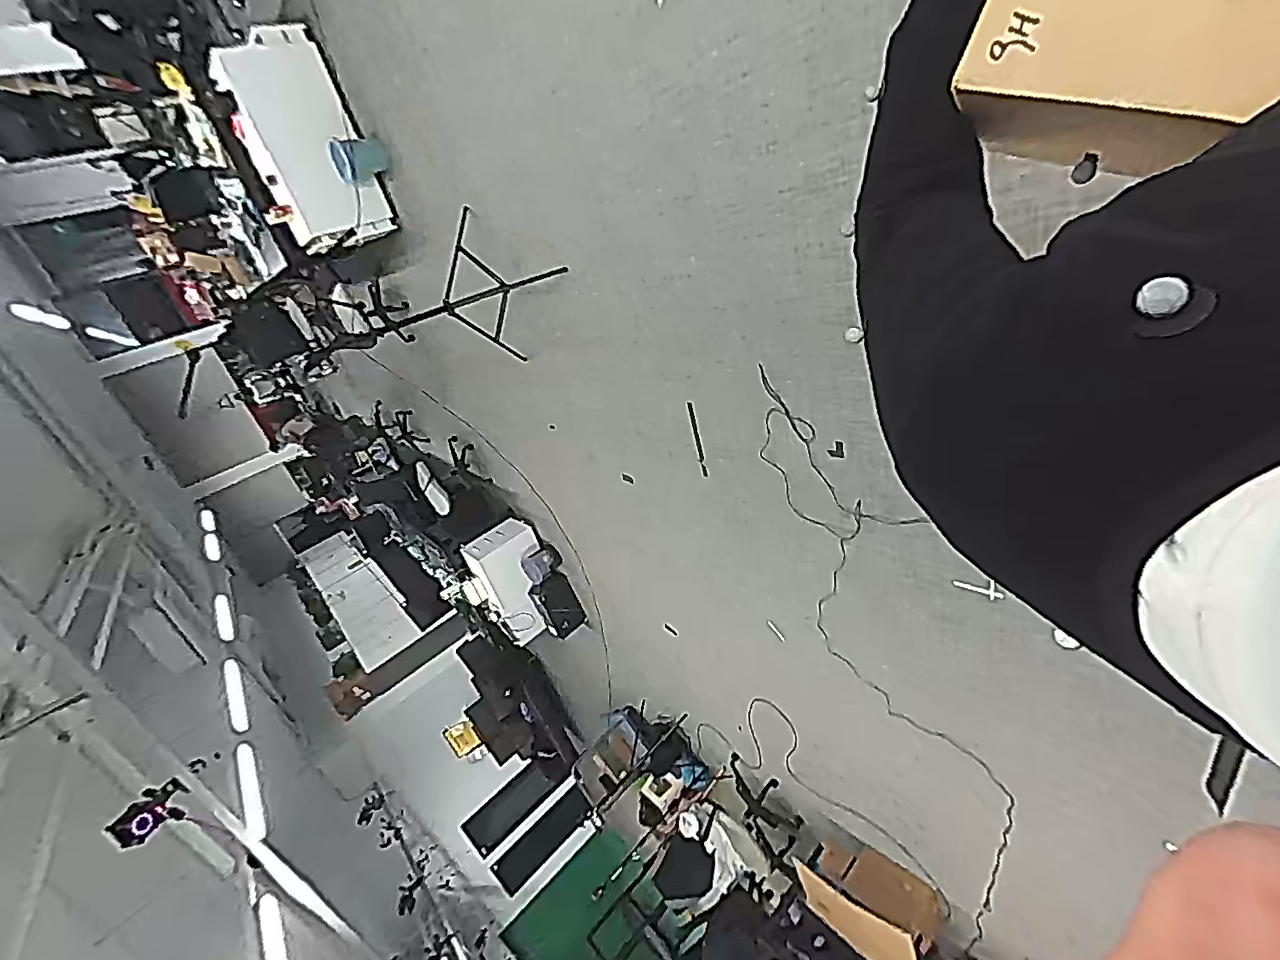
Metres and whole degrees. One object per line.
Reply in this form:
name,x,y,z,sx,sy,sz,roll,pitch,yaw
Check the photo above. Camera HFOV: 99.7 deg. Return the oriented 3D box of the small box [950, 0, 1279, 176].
small box,0.337,-0.311,0.346,0.179,0.176,0.168,30,120,27
